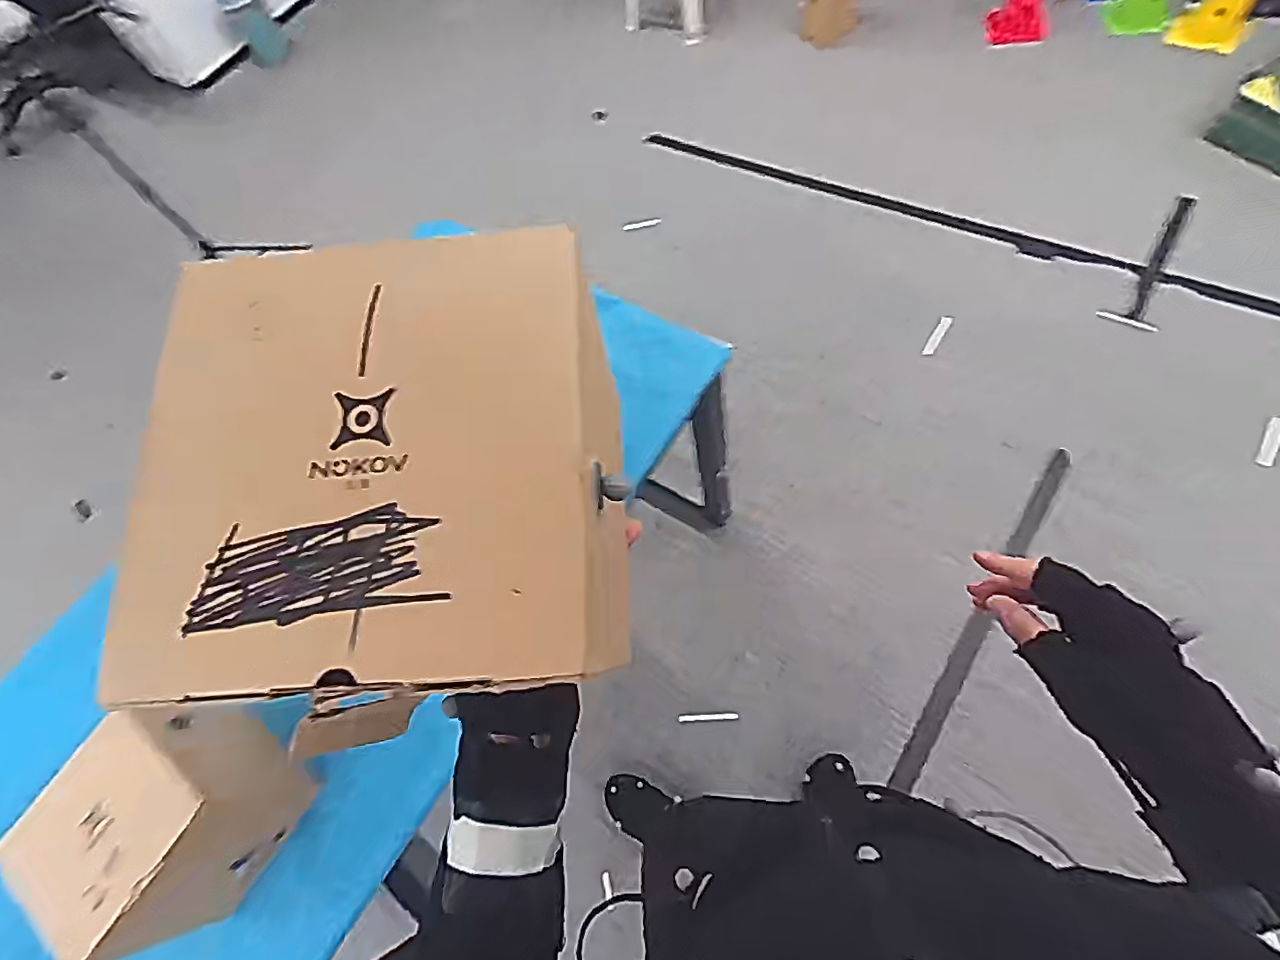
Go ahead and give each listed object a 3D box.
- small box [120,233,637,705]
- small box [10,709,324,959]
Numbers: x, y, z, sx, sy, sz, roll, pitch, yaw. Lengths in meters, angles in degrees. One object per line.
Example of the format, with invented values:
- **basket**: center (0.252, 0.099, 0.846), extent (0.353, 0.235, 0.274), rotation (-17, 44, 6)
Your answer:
- **small box**: center (-0.093, 0.011, 0.279), extent (0.168, 0.176, 0.179), rotation (-4, 73, 4)
- **small box**: center (-0.515, 0.386, 0.613), extent (0.179, 0.176, 0.168), rotation (31, 77, 20)
